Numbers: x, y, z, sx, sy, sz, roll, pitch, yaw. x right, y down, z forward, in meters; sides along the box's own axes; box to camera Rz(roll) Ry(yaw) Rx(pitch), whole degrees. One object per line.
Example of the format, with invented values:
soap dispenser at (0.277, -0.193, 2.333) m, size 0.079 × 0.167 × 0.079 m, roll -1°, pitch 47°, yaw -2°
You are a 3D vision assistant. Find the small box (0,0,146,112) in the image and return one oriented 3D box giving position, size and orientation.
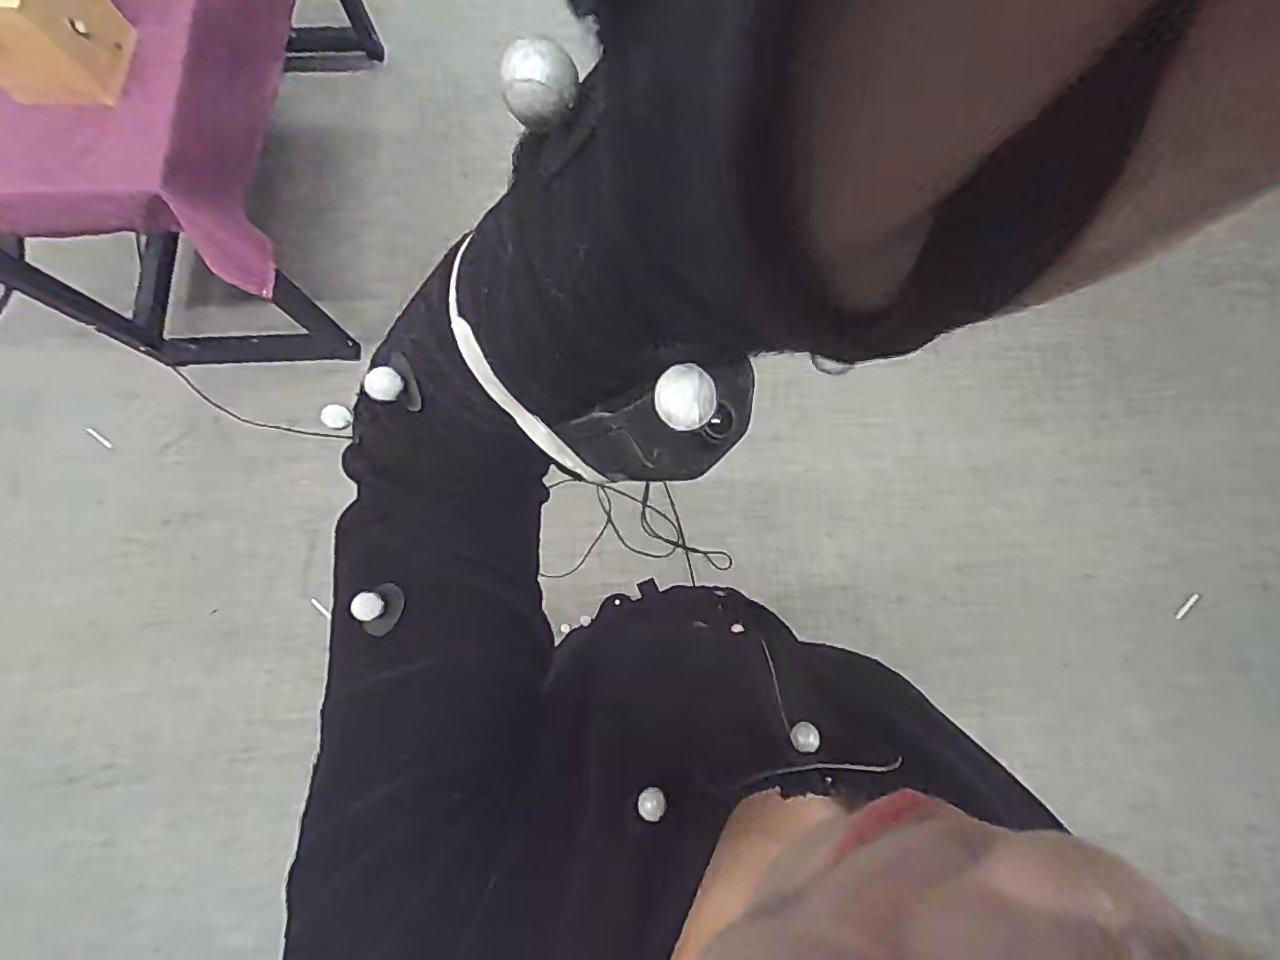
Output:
small box at (-1.002, -0.760, 0.914) m, size 0.179 × 0.176 × 0.168 m, roll 1°, pitch 77°, yaw 1°
